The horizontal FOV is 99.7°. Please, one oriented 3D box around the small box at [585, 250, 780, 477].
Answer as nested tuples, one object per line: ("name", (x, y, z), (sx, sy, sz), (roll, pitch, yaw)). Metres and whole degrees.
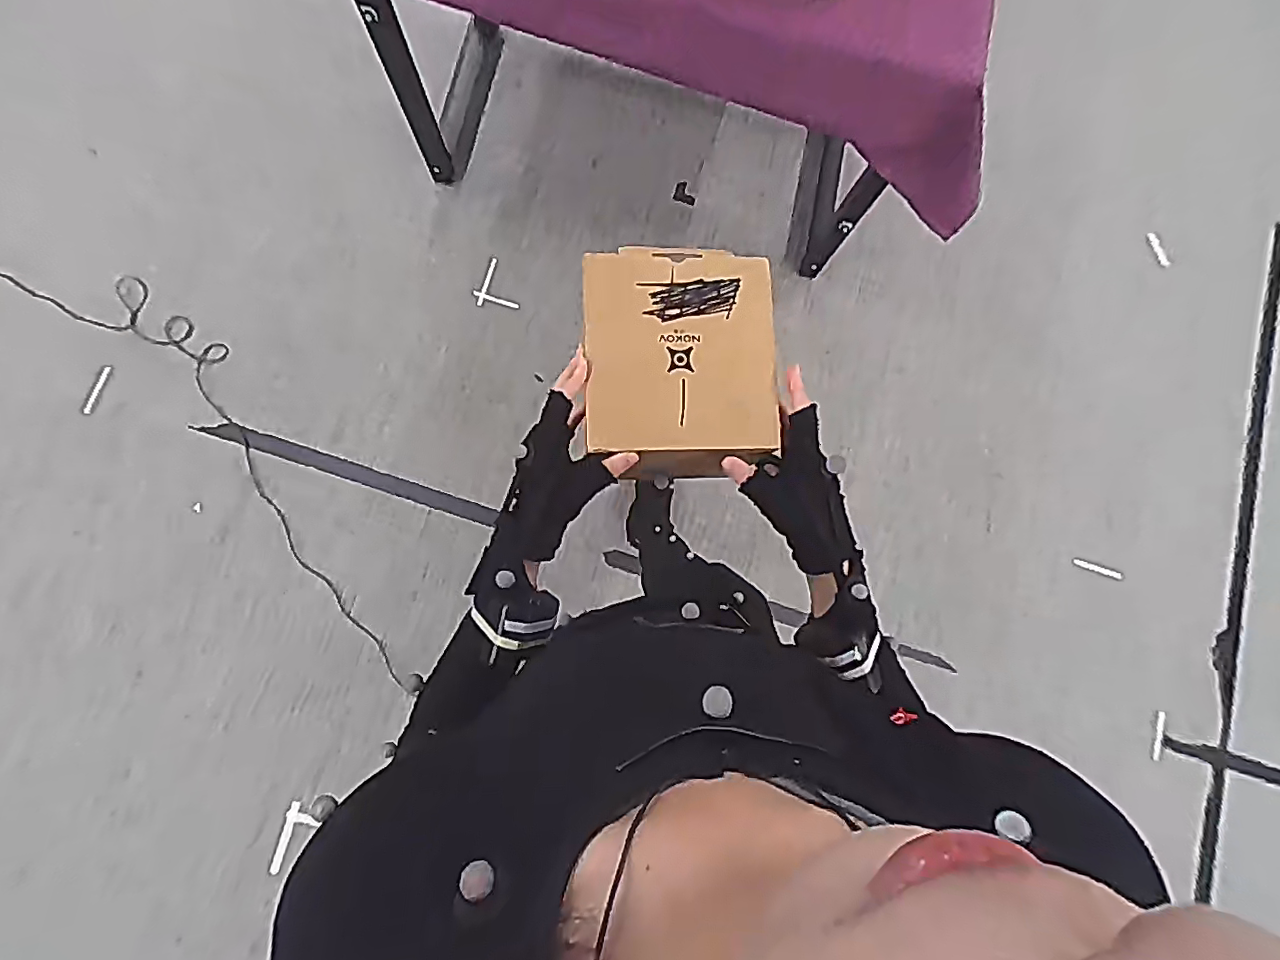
("small box", (0.028, -0.103, 0.540), (0.168, 0.176, 0.179), (-1, 82, -5))
